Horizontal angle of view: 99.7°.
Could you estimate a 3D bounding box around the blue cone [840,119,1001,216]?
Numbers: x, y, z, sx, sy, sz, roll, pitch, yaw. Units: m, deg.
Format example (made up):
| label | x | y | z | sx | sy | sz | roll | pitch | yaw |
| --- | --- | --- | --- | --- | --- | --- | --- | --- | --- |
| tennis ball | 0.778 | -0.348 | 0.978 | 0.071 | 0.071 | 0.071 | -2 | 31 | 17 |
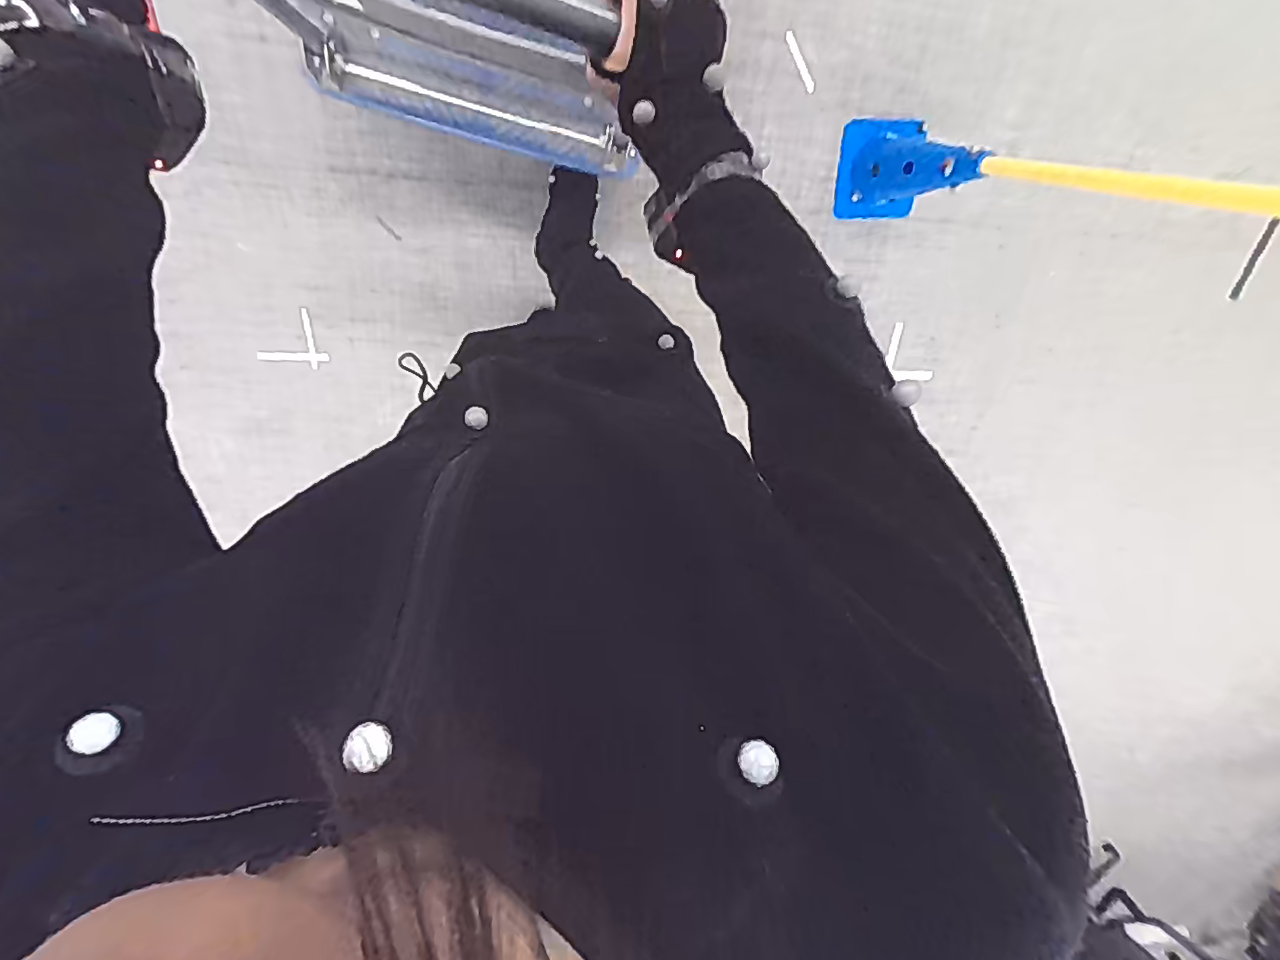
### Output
| label | x | y | z | sx | sy | sz | roll | pitch | yaw |
| --- | --- | --- | --- | --- | --- | --- | --- | --- | --- |
| blue cone | 0.581 | -0.641 | 1.100 | 0.193 | 0.380 | 0.192 | -3 | 117 | -8 |
